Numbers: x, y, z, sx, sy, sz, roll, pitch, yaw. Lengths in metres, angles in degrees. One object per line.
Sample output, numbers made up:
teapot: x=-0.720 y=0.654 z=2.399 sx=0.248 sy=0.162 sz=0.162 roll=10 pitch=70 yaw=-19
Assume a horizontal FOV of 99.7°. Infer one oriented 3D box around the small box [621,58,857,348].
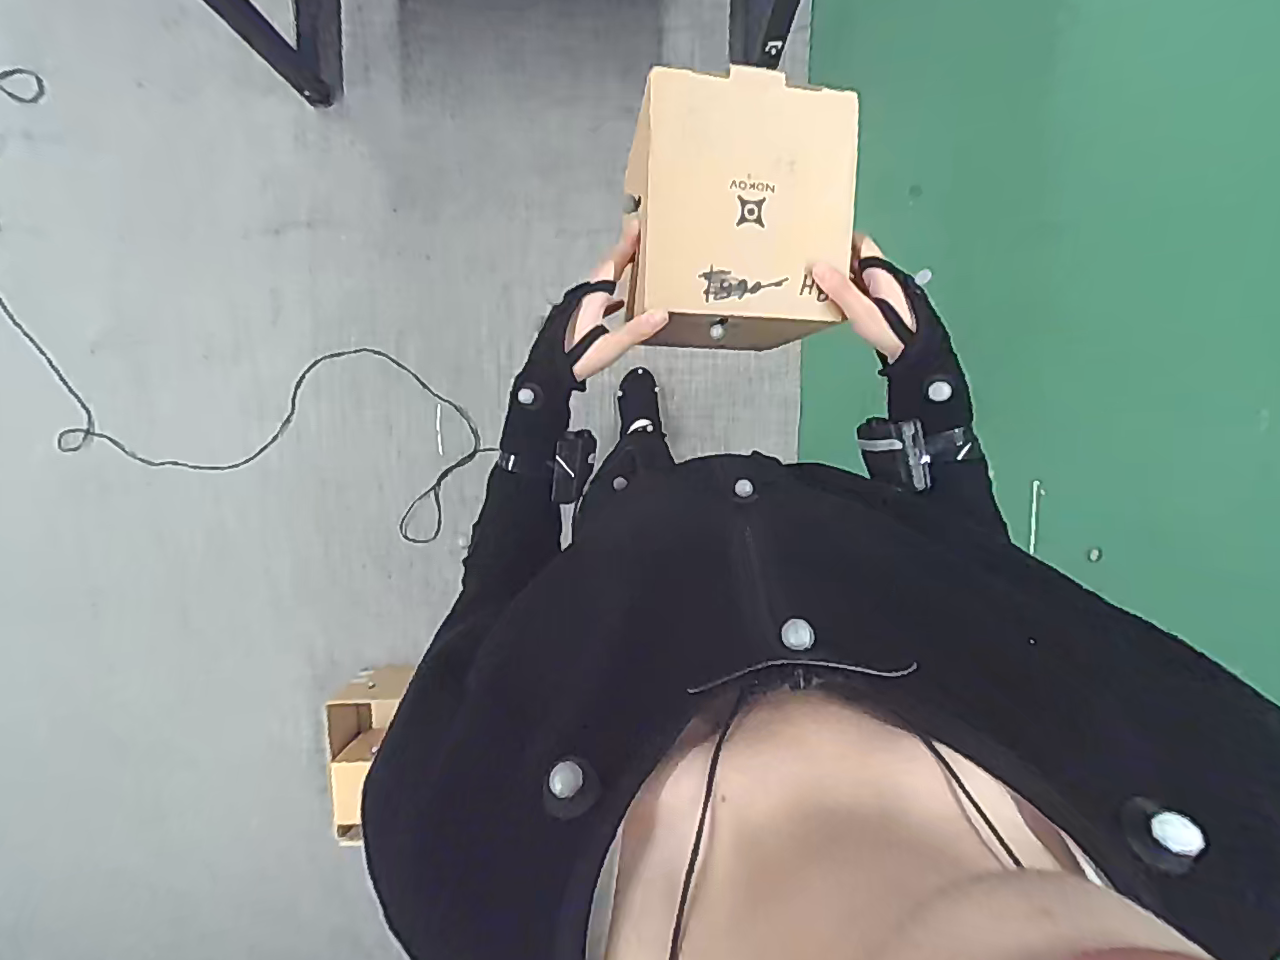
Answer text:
small box: x=0.074 y=-0.227 z=0.492 sx=0.168 sy=0.176 sz=0.179 roll=2 pitch=95 yaw=-8
